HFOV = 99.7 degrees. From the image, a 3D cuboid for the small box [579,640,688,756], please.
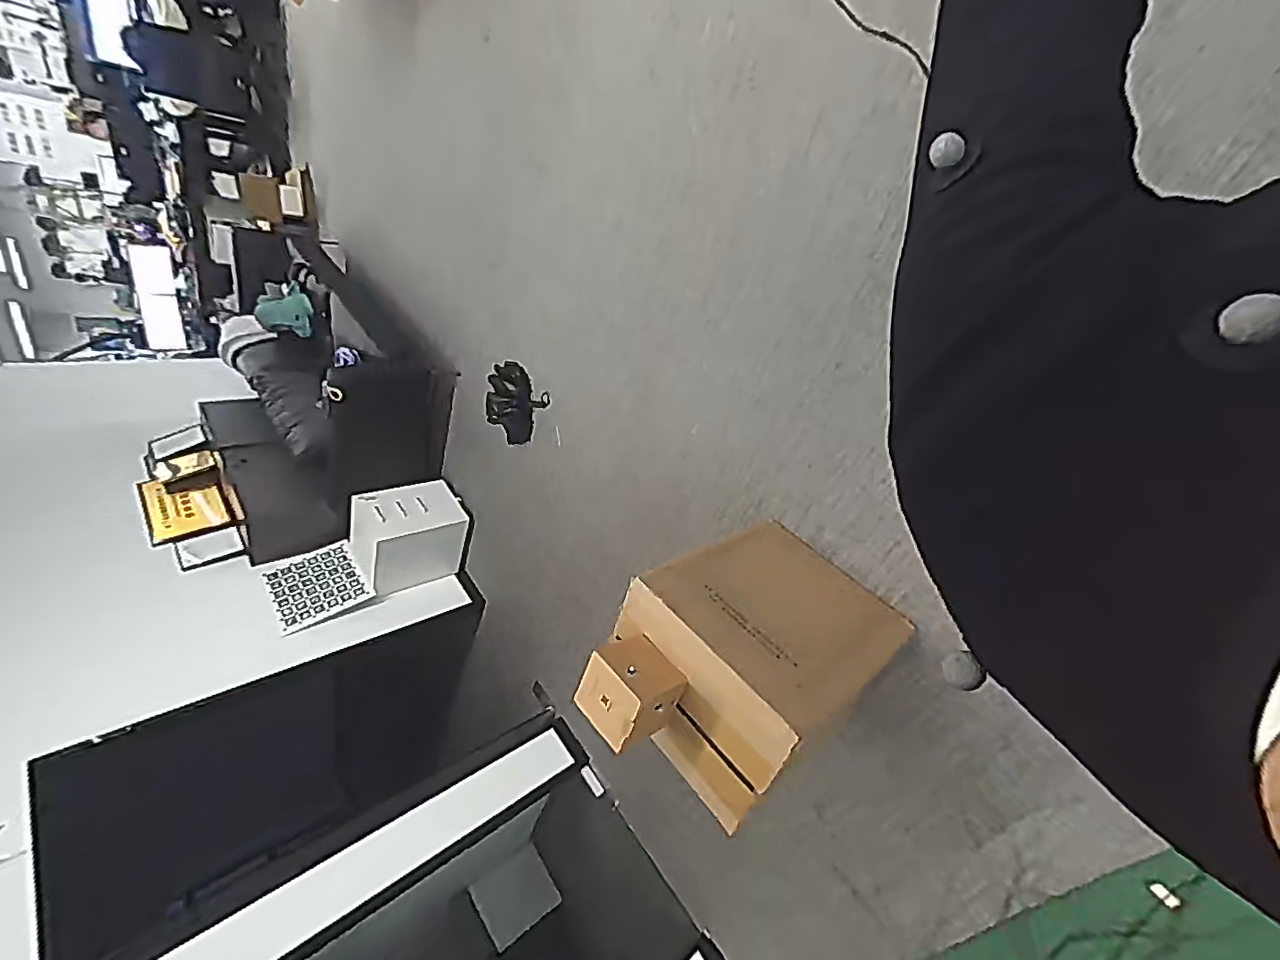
[{"bbox_3d":[-0.013,0.512,1.303,0.179,0.176,0.168,37,116,37],"label":"small box"}]
